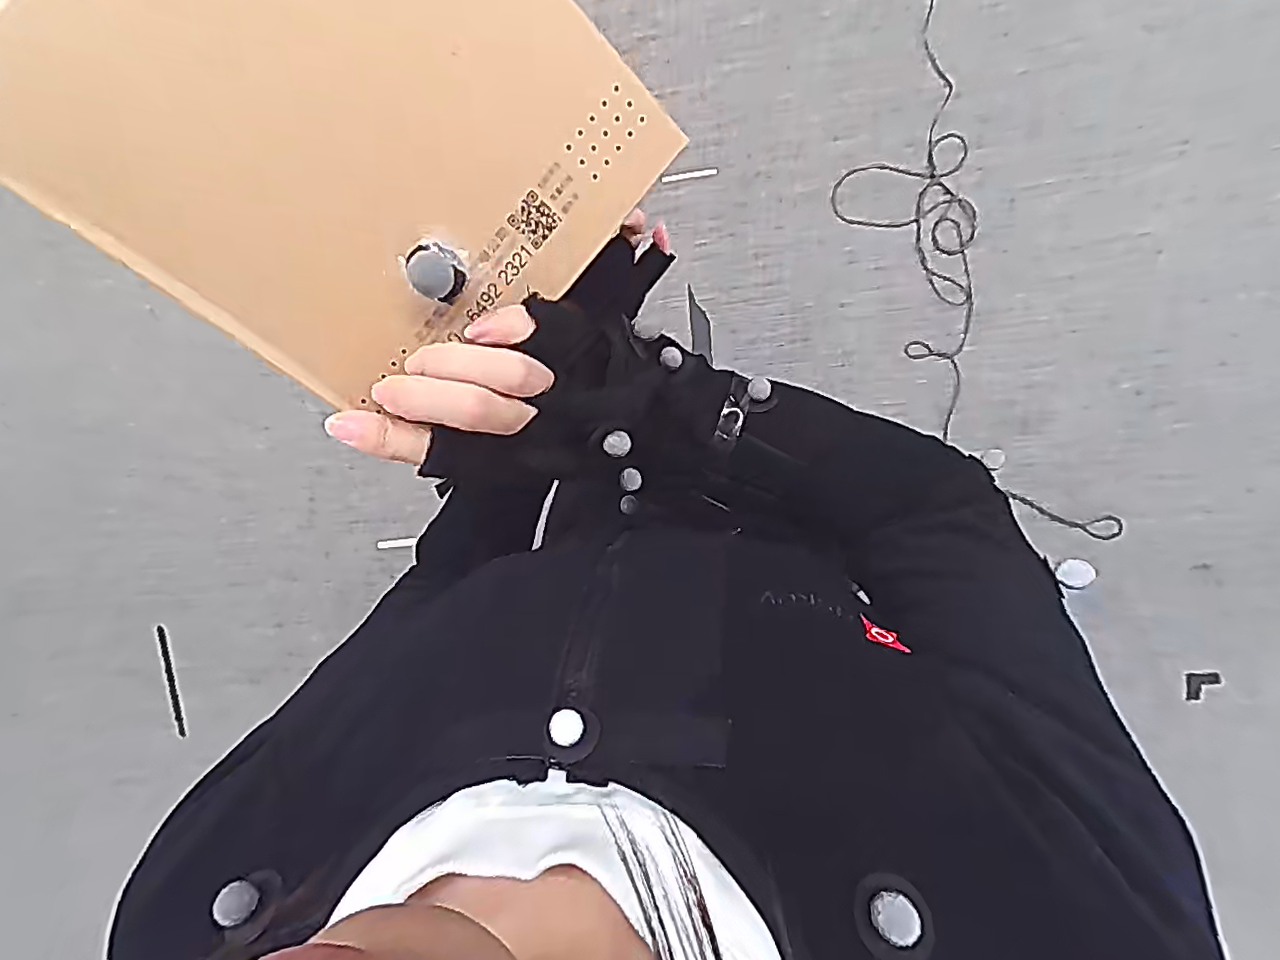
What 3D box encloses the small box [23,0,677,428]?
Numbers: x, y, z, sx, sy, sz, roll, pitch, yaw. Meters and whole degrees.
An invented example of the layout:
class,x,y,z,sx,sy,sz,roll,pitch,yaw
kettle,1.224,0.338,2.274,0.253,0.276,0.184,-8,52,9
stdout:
class,x,y,z,sx,sy,sz,roll,pitch,yaw
small box,-0.109,-0.151,0.275,0.176,0.179,0.168,39,99,-24
